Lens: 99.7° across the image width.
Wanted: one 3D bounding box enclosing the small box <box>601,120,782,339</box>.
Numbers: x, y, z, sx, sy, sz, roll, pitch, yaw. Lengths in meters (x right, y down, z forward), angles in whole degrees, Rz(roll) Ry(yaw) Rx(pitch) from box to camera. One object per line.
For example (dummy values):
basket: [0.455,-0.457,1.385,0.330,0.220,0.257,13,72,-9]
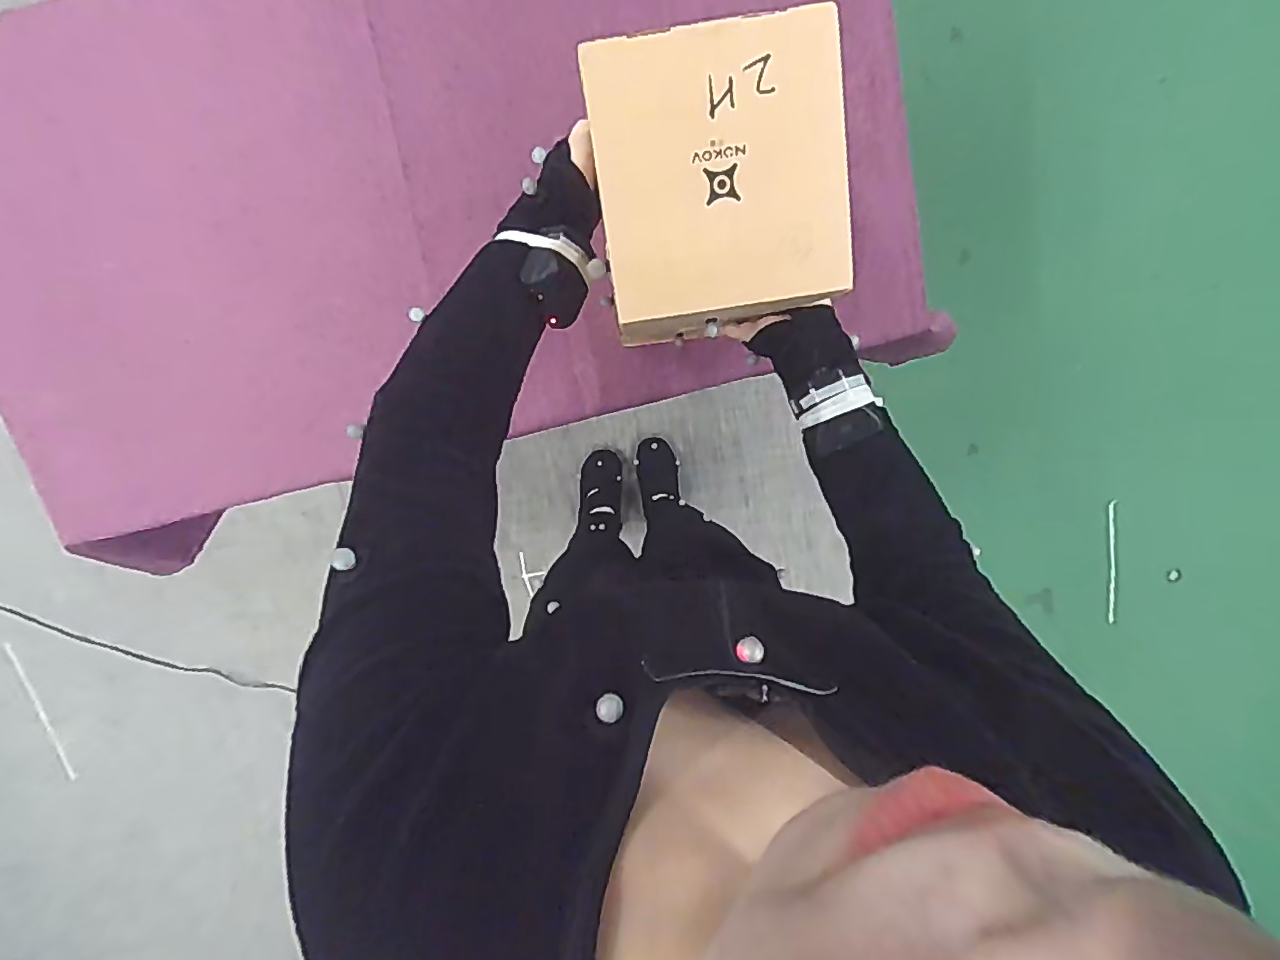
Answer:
small box: [0.050,-0.259,0.600,0.168,0.176,0.179,-7,102,1]
